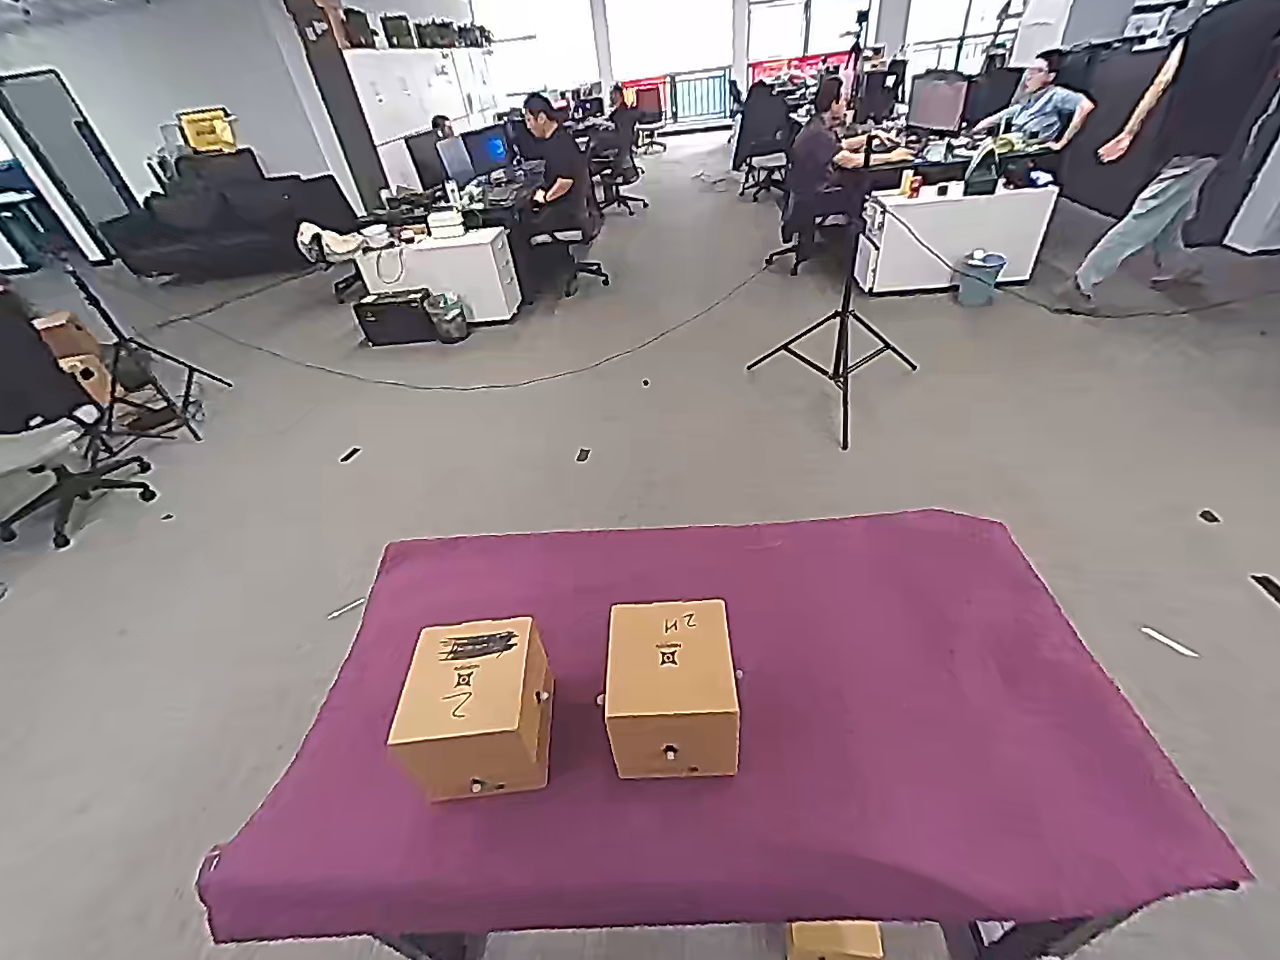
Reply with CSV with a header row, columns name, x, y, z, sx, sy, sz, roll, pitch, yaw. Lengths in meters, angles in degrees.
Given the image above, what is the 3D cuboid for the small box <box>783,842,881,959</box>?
name,x,y,z,sx,sy,sz,roll,pitch,yaw
small box,0.394,0.899,1.139,0.168,0.176,0.179,-1,38,9

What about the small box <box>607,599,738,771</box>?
name,x,y,z,sx,sy,sz,roll,pitch,yaw
small box,0.050,0.295,0.774,0.168,0.176,0.179,-3,37,4
